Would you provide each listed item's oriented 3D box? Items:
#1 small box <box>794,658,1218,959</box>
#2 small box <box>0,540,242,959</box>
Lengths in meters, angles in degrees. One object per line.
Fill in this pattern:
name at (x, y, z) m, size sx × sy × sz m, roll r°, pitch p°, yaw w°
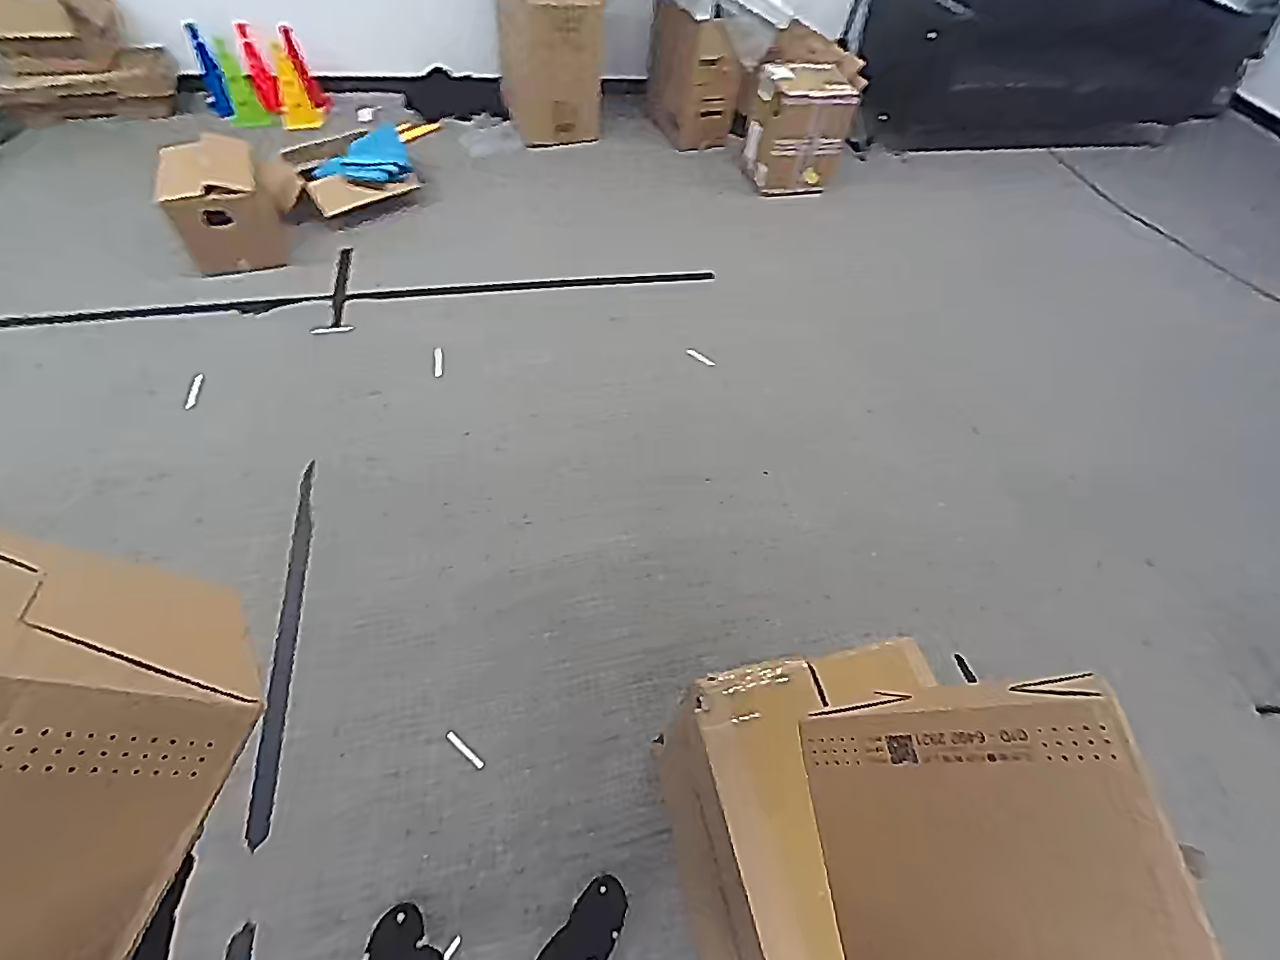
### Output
small box at (0.219, 0.211, 0.337) m, size 0.179 × 0.168 × 0.176 m, roll 16°, pitch 58°, yaw -50°
small box at (-0.310, 0.124, 0.233) m, size 0.168 × 0.179 × 0.176 m, roll 12°, pitch 76°, yaw 49°
